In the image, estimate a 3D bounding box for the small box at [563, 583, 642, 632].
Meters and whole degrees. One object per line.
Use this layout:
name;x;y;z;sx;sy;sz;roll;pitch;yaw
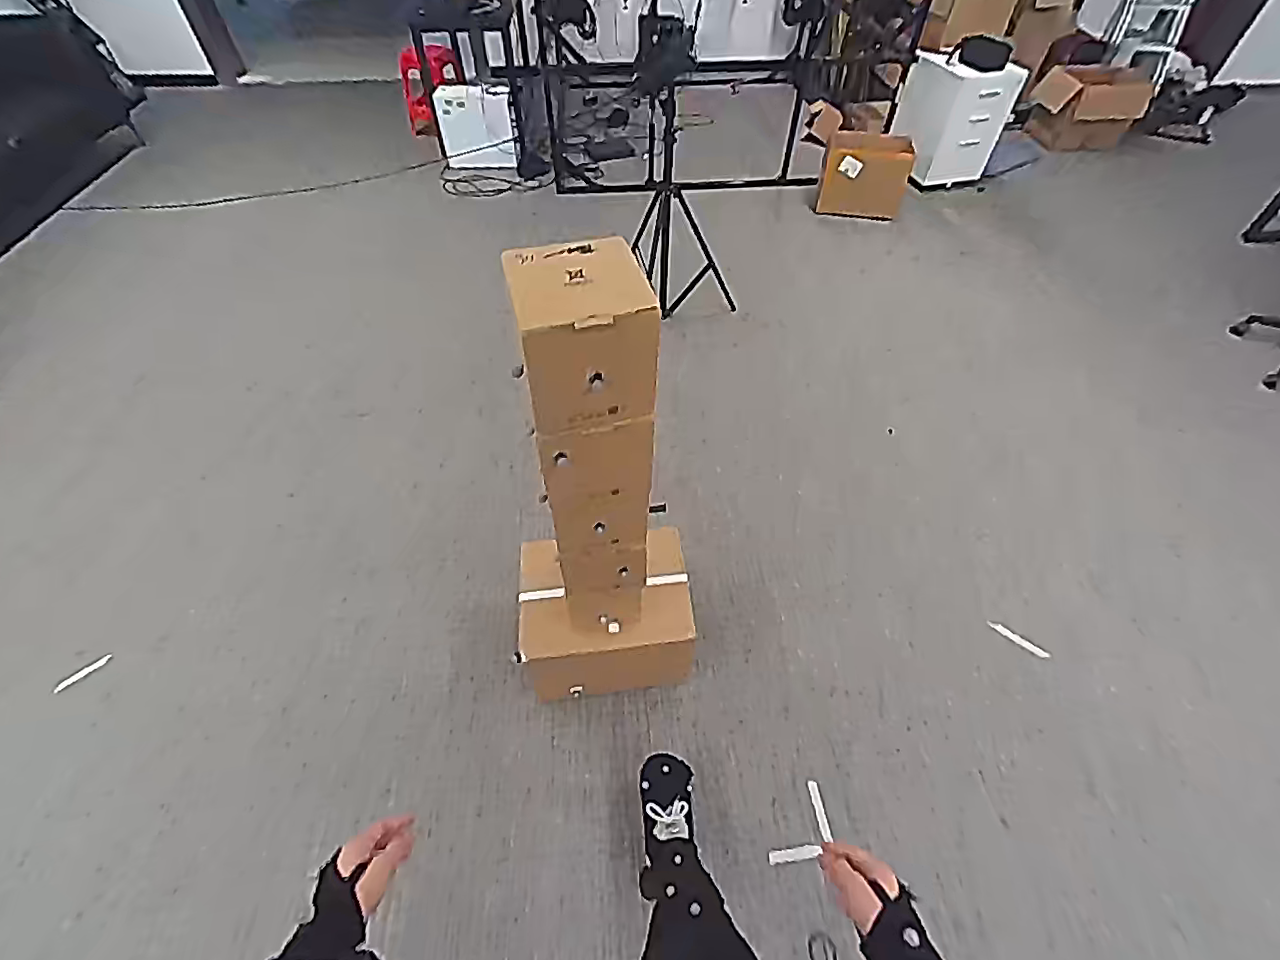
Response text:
small box;-0.088;0.226;1.237;0.168;0.176;0.179;-6;52;-5

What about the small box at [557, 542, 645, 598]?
small box;-0.082;0.128;1.108;0.168;0.176;0.179;-6;50;-7

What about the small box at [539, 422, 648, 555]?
small box;-0.084;0.022;0.982;0.168;0.176;0.179;-9;52;-10

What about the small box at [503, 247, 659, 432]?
small box;-0.078;-0.181;0.725;0.168;0.176;0.179;-12;54;-12
